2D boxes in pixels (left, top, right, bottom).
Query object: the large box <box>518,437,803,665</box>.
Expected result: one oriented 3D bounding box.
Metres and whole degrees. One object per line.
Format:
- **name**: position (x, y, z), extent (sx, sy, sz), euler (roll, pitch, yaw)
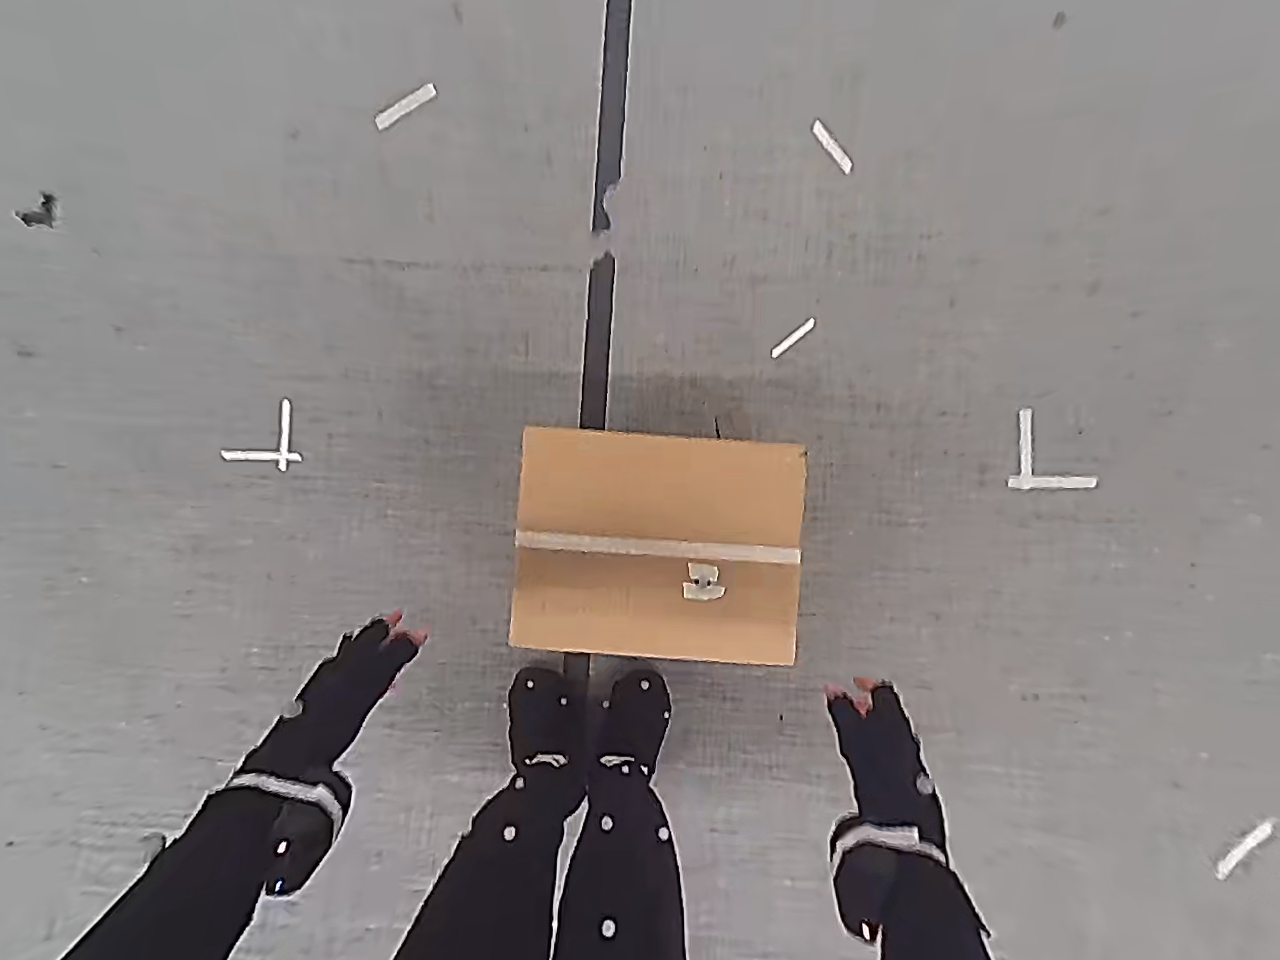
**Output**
- **large box**: position (0.027, 0.108, 0.925), extent (0.408, 0.320, 0.320), euler (4, 89, -1)
